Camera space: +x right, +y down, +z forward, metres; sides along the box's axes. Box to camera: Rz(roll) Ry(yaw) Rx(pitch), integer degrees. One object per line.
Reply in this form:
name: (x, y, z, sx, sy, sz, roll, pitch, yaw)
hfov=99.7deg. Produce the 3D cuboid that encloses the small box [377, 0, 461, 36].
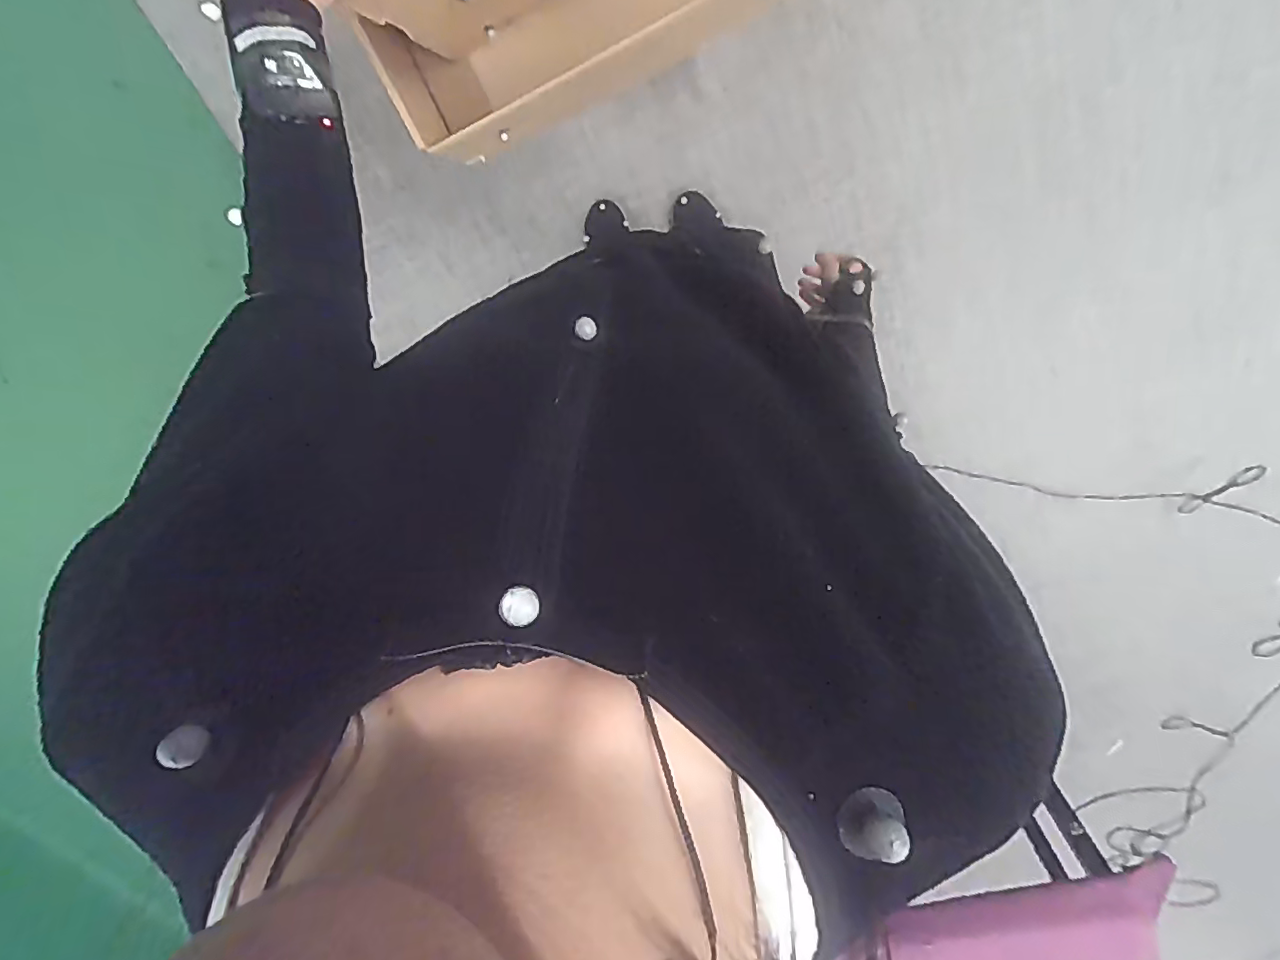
small box: (-0.272, -0.620, 0.562, 0.168, 0.176, 0.179, -35, 111, 21)
